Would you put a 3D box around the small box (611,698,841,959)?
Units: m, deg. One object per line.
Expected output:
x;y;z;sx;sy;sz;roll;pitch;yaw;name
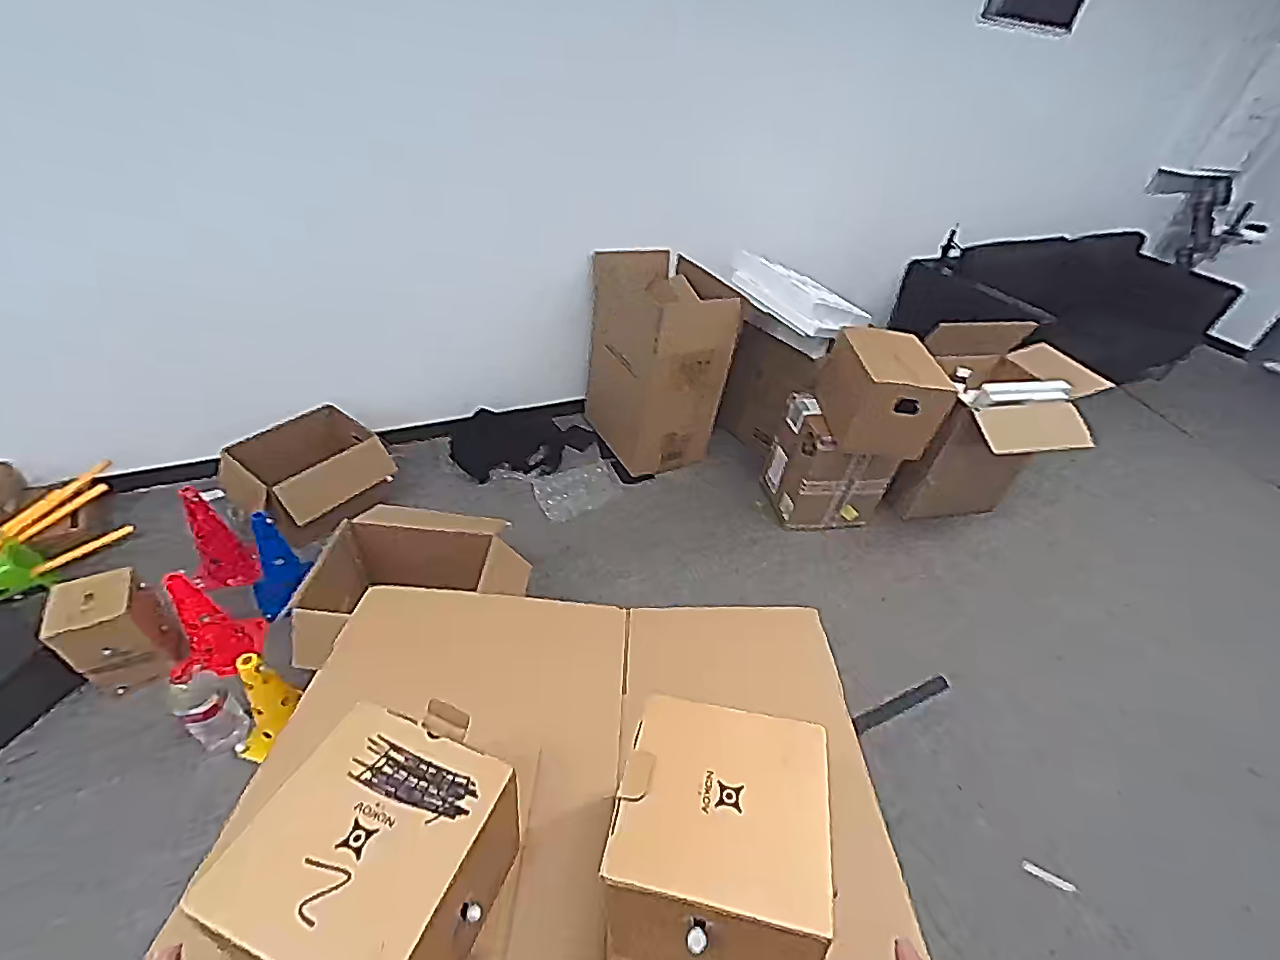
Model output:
0.085;0.342;0.515;0.179;0.176;0.168;5;35;14;small box
